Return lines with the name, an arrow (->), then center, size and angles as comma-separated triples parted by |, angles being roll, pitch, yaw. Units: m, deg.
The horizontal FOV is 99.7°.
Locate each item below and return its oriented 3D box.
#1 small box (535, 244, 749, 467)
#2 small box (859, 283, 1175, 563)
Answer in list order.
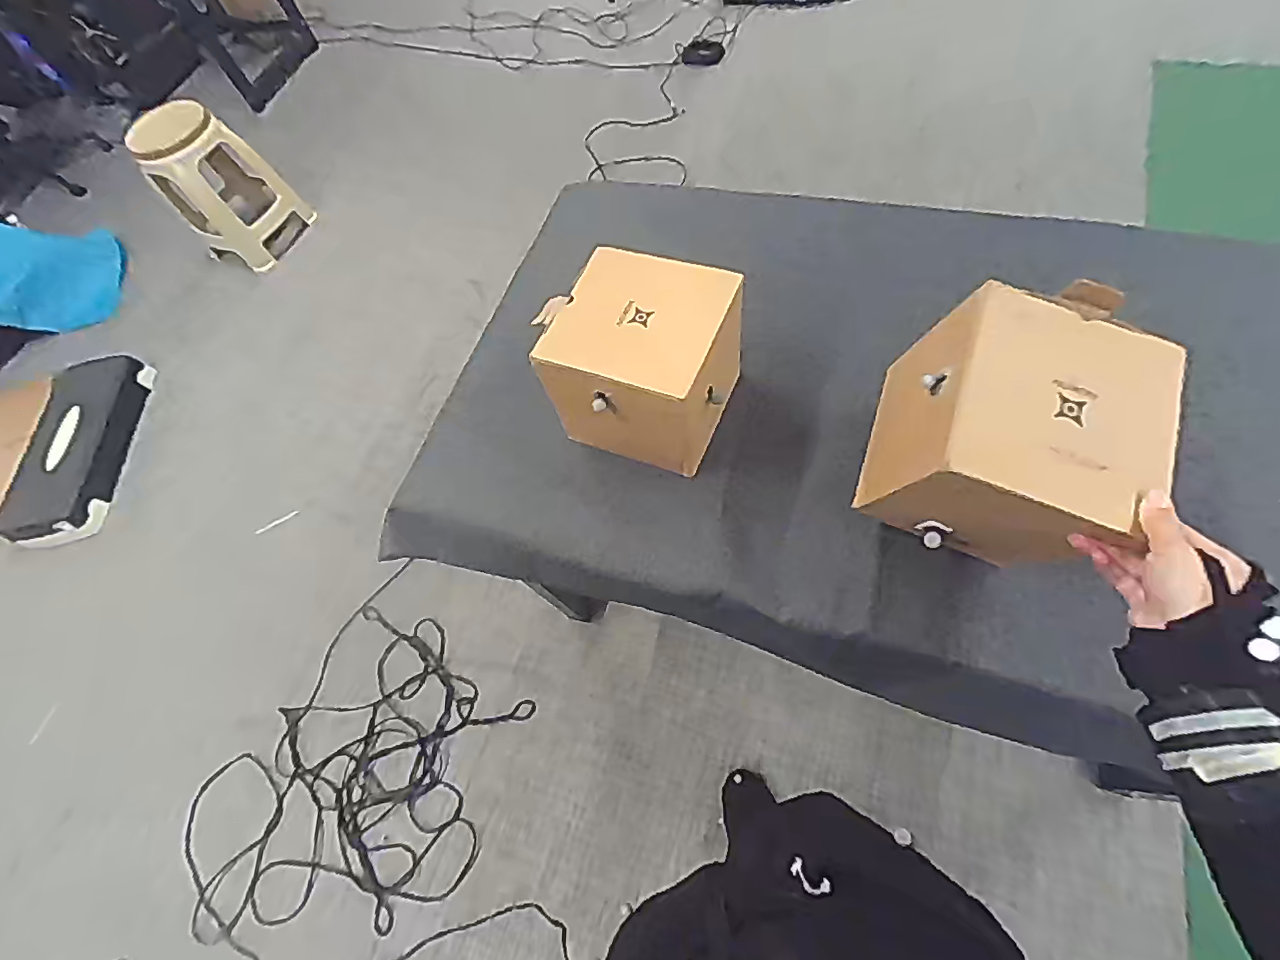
small box -> 0.014, -0.135, 0.625 | 0.179, 0.176, 0.168 | 19, 68, 18
small box -> 0.327, -0.038, 0.498 | 0.168, 0.176, 0.179 | 20, 75, 3
